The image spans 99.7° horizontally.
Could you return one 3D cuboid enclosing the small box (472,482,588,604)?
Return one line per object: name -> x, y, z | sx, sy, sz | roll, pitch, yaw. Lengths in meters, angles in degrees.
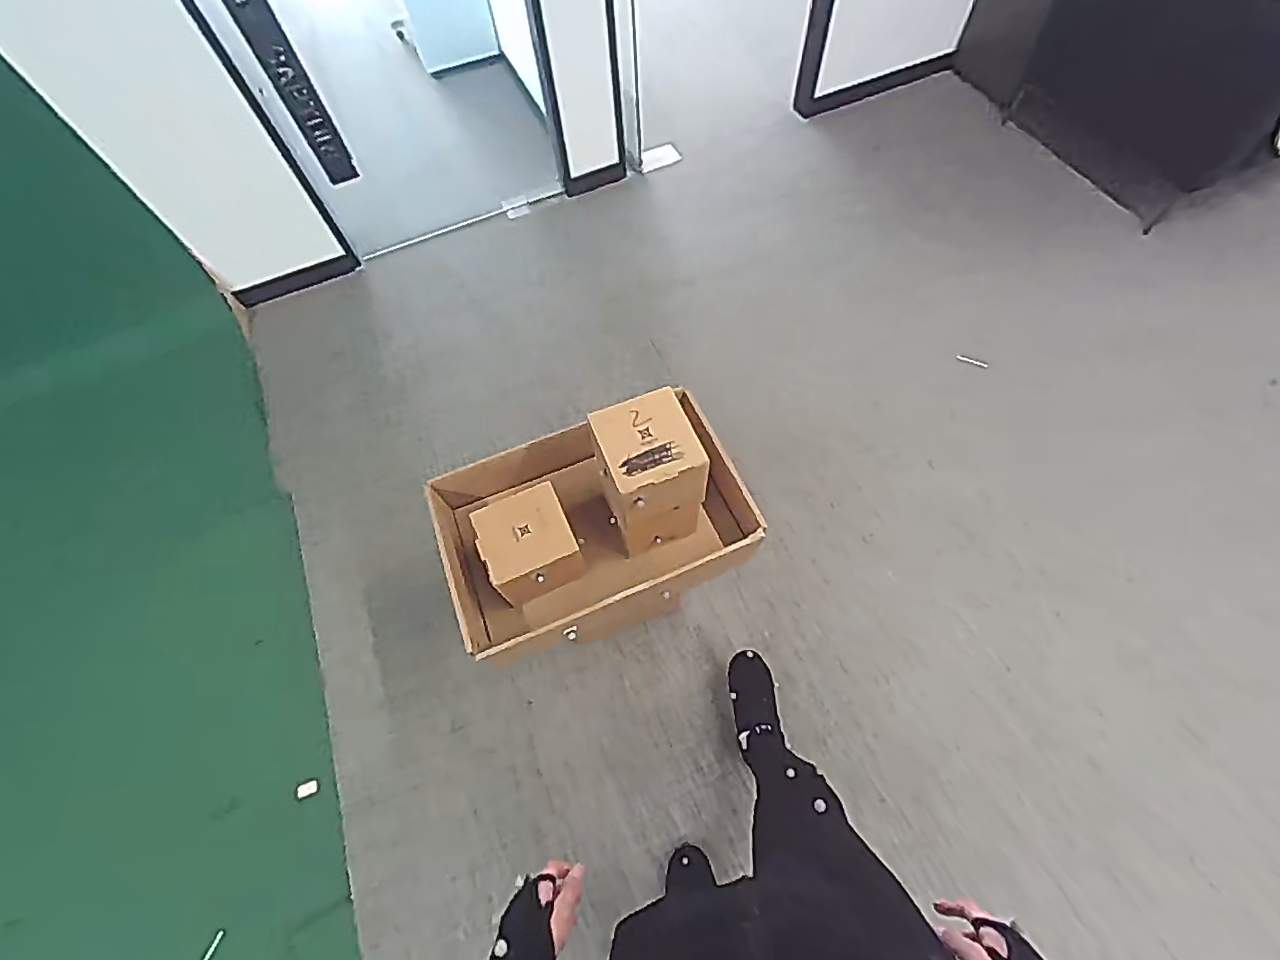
small box -> -0.222, 0.137, 1.124 | 0.179, 0.176, 0.168 | -21, 64, -9
